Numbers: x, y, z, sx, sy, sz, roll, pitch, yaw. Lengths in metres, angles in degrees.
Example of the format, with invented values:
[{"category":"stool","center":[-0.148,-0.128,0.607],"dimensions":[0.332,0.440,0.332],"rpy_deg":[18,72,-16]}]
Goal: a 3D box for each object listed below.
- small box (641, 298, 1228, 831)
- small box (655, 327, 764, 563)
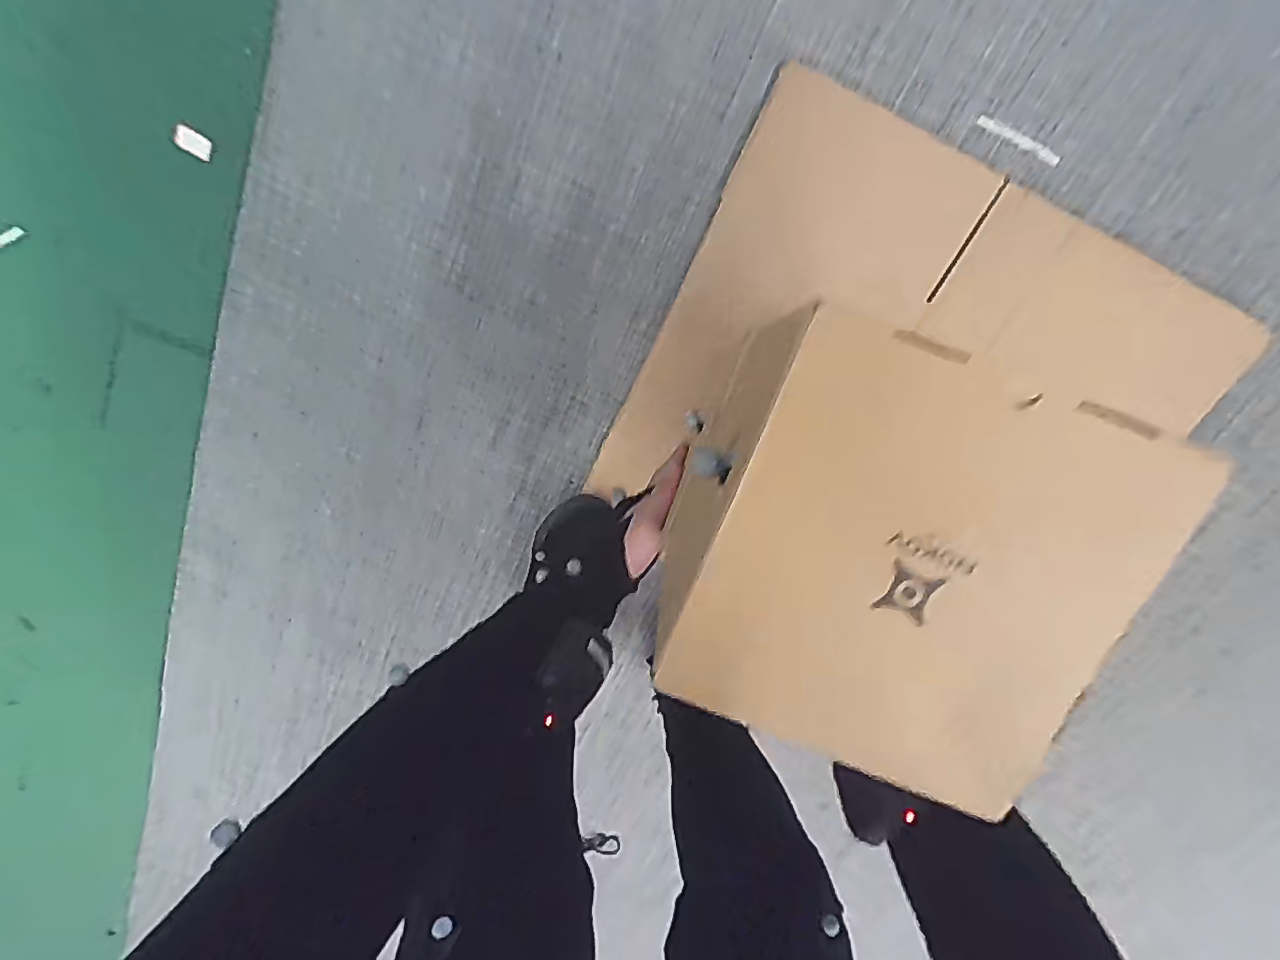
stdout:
[{"category":"small box","center":[0.113,0.026,0.290],"dimensions":[0.168,0.176,0.179],"rpy_deg":[21,102,1]},{"category":"small box","center":[0.123,-0.009,0.447],"dimensions":[0.168,0.176,0.179],"rpy_deg":[21,102,1]}]
